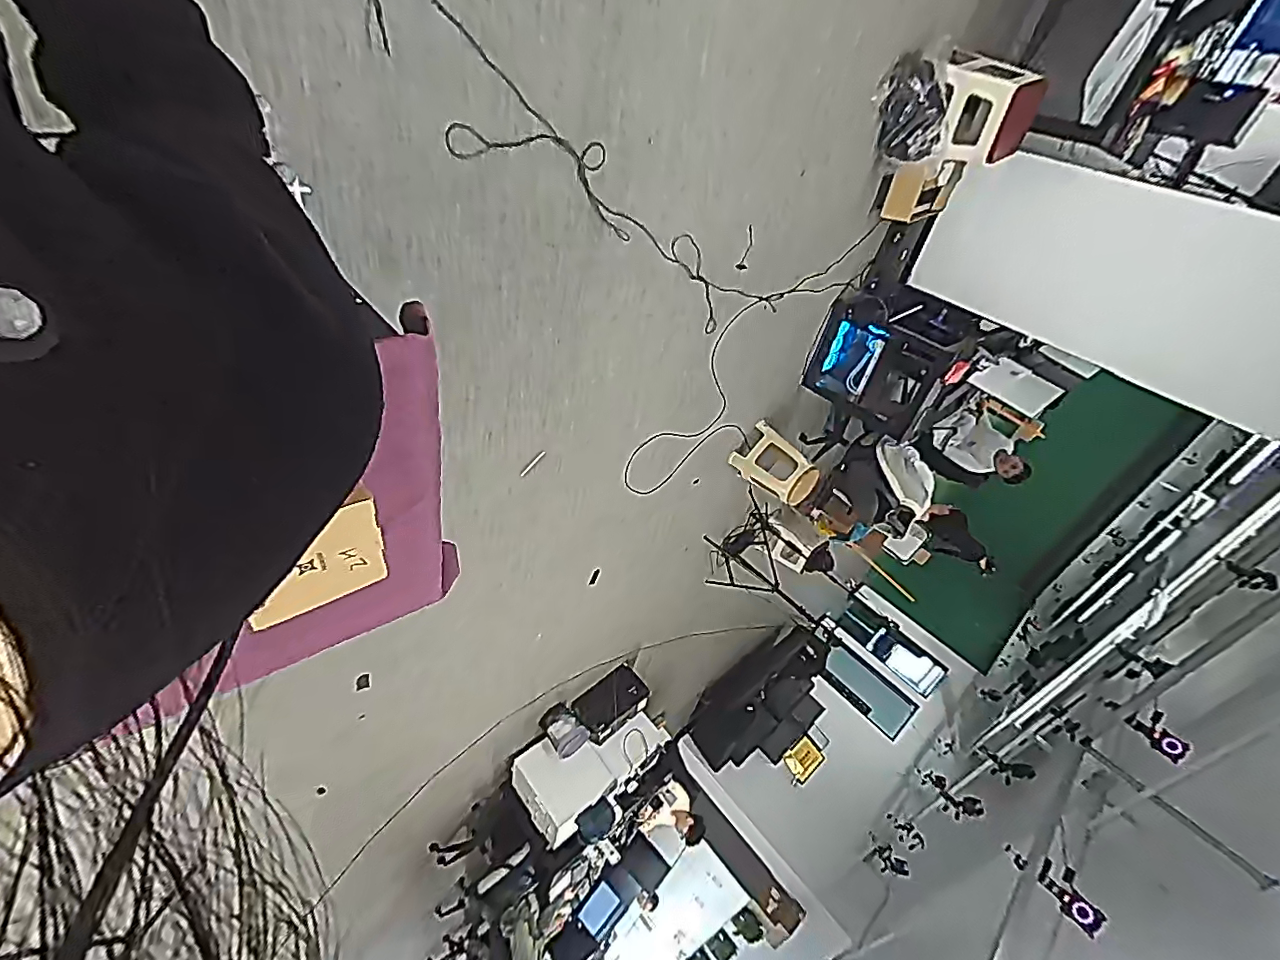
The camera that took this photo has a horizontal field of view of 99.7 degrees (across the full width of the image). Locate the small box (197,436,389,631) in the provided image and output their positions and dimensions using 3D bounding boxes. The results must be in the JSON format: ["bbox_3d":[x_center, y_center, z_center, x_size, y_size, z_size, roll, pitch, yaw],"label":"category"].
[{"bbox_3d":[-0.476,0.065,0.748,0.179,0.176,0.168,-24,143,-36],"label":"small box"}]
